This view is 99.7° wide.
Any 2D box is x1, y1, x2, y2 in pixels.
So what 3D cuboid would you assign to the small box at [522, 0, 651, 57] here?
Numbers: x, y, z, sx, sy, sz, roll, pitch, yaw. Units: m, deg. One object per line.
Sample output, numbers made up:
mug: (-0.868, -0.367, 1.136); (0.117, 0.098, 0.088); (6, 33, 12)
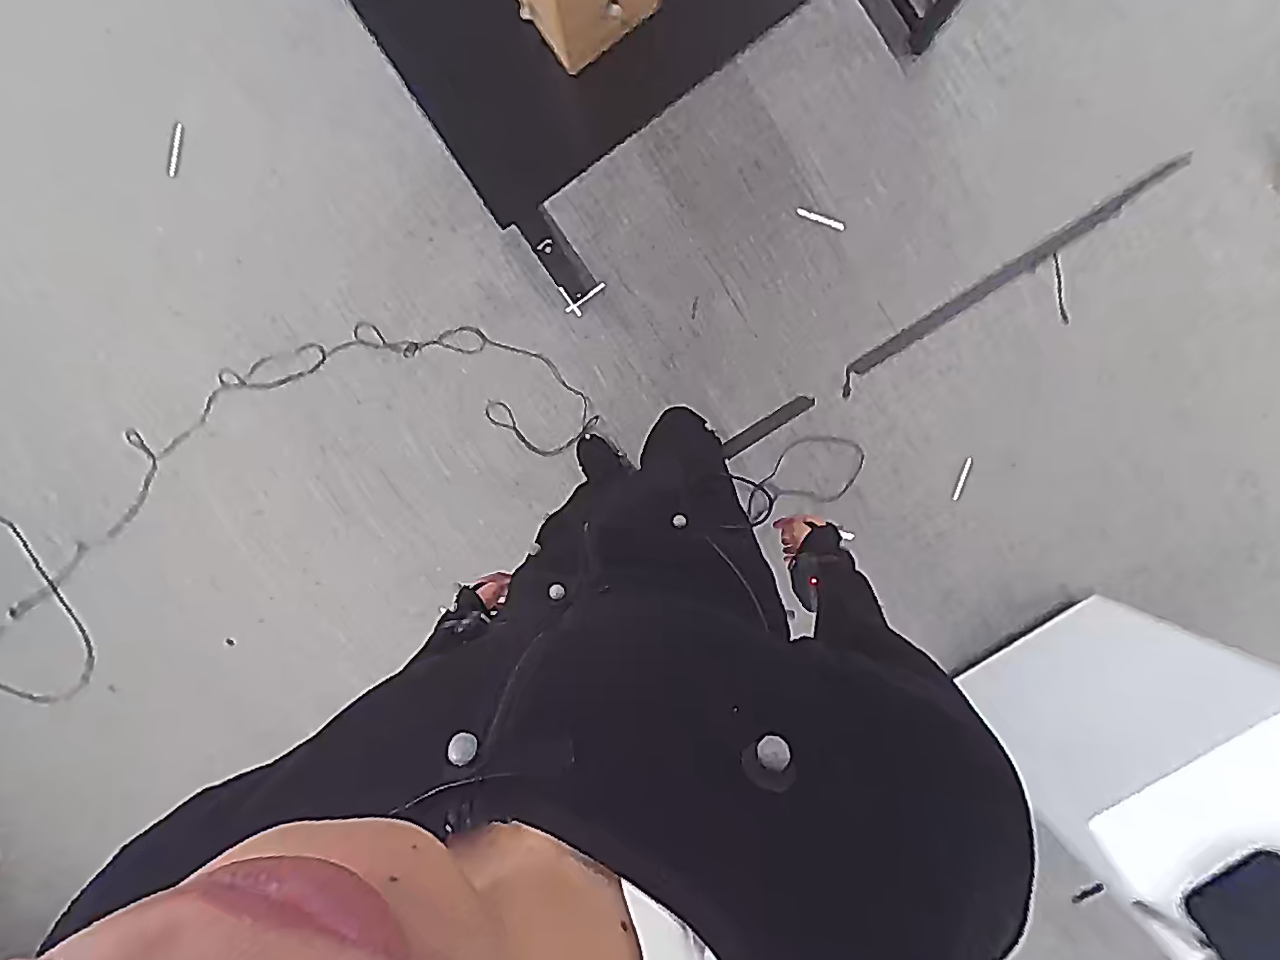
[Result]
small box: (-0.090, -0.718, 0.719); (0.168, 0.176, 0.179); (-36, 95, 5)
